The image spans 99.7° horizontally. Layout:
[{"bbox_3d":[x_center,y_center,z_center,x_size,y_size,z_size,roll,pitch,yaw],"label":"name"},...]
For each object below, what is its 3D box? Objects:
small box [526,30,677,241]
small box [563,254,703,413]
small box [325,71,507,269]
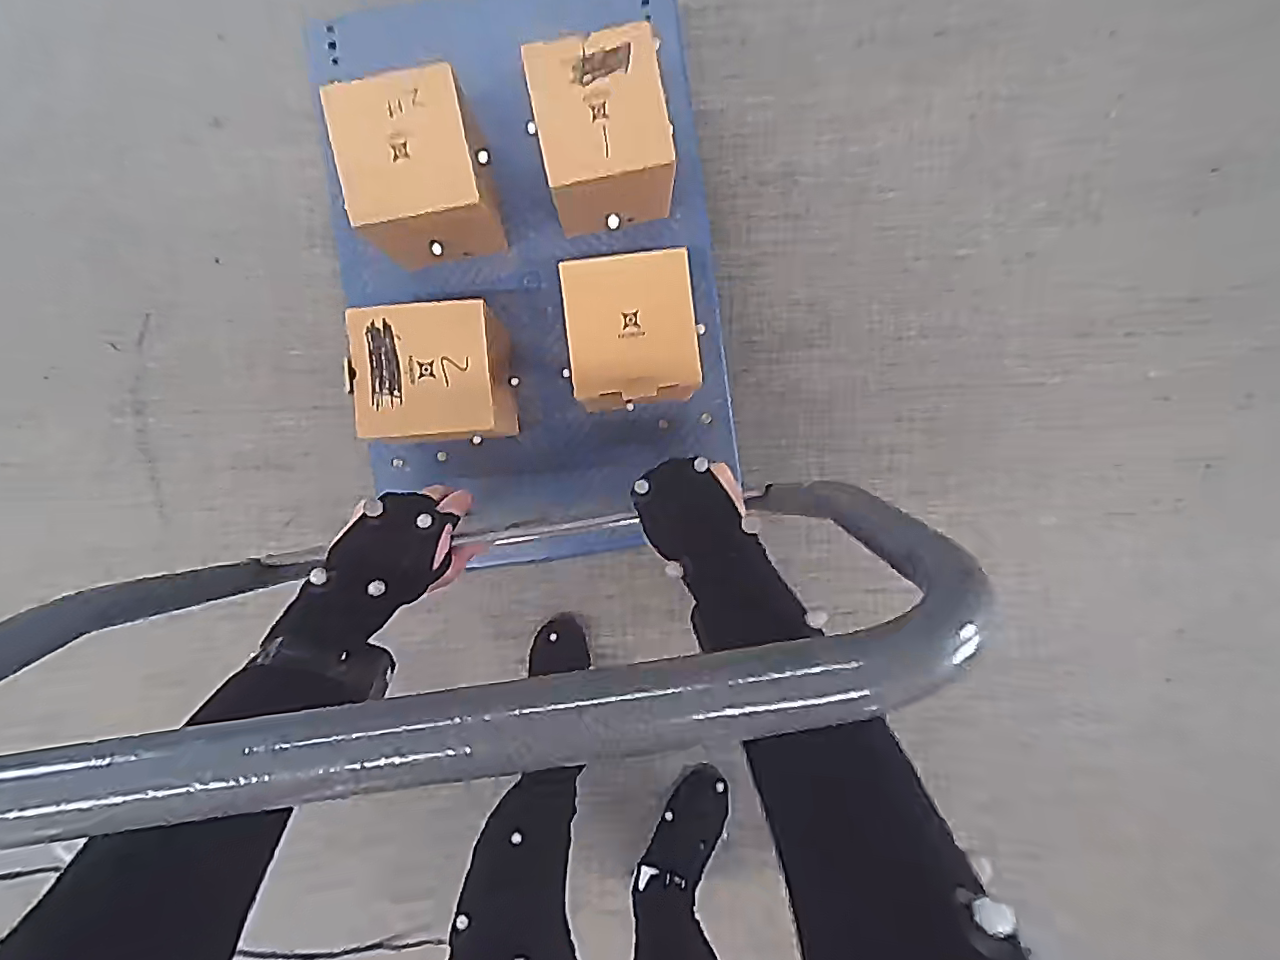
[{"bbox_3d":[-0.049,-0.464,0.754,0.168,0.176,0.179,-11,94,0],"label":"small box"},{"bbox_3d":[-0.012,-0.196,0.767,0.168,0.176,0.179,-7,93,-1],"label":"small box"},{"bbox_3d":[-0.296,-0.411,0.752,0.168,0.176,0.179,-11,92,-1],"label":"small box"}]
